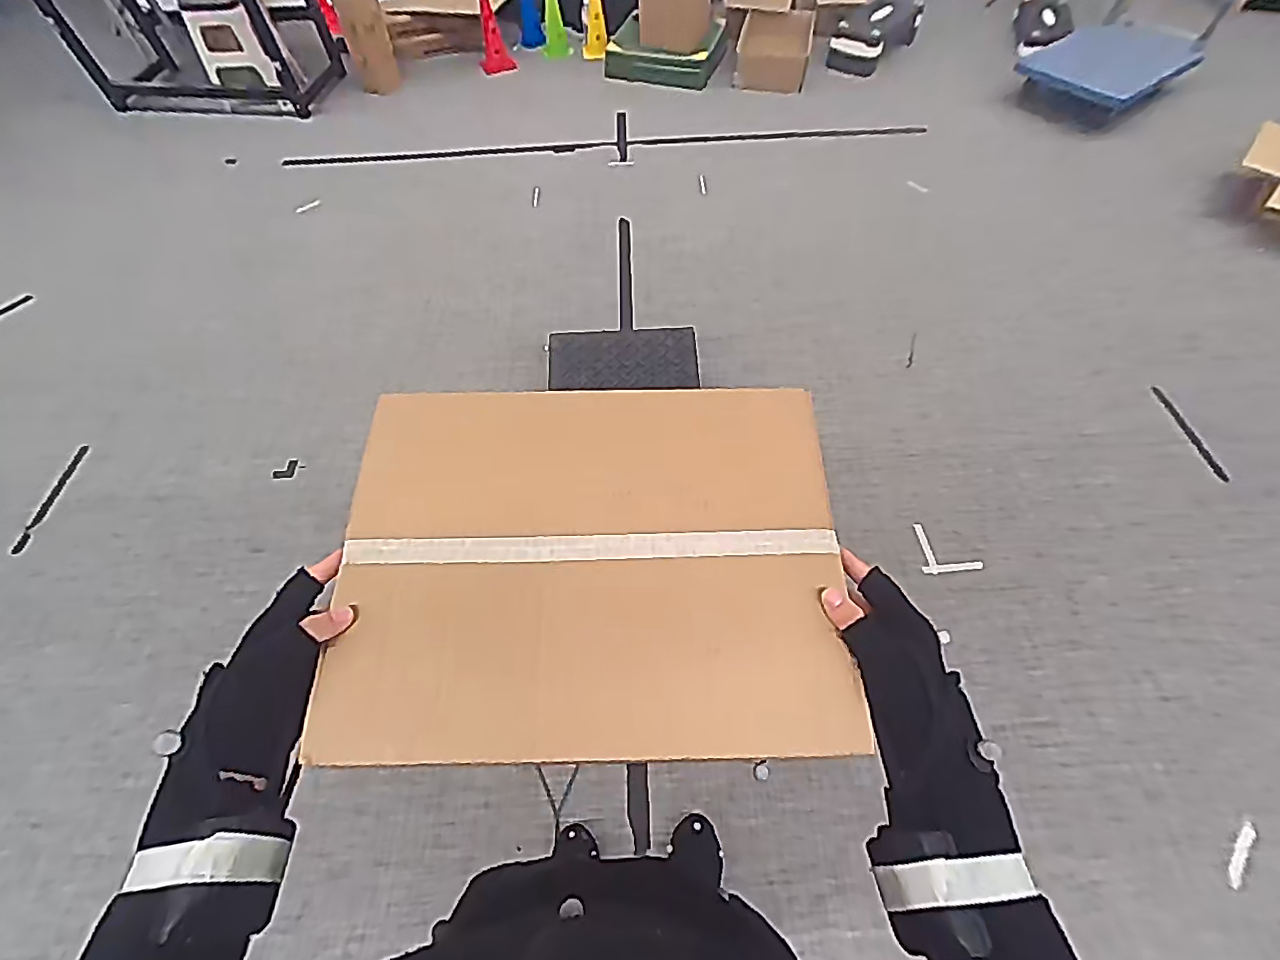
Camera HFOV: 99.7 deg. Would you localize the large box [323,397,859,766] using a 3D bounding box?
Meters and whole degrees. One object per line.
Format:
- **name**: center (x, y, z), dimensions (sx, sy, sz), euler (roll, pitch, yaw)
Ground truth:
- **large box**: center (-0.037, 0.126, 0.593), dimensions (0.408, 0.320, 0.320), euler (-1, 64, 0)
